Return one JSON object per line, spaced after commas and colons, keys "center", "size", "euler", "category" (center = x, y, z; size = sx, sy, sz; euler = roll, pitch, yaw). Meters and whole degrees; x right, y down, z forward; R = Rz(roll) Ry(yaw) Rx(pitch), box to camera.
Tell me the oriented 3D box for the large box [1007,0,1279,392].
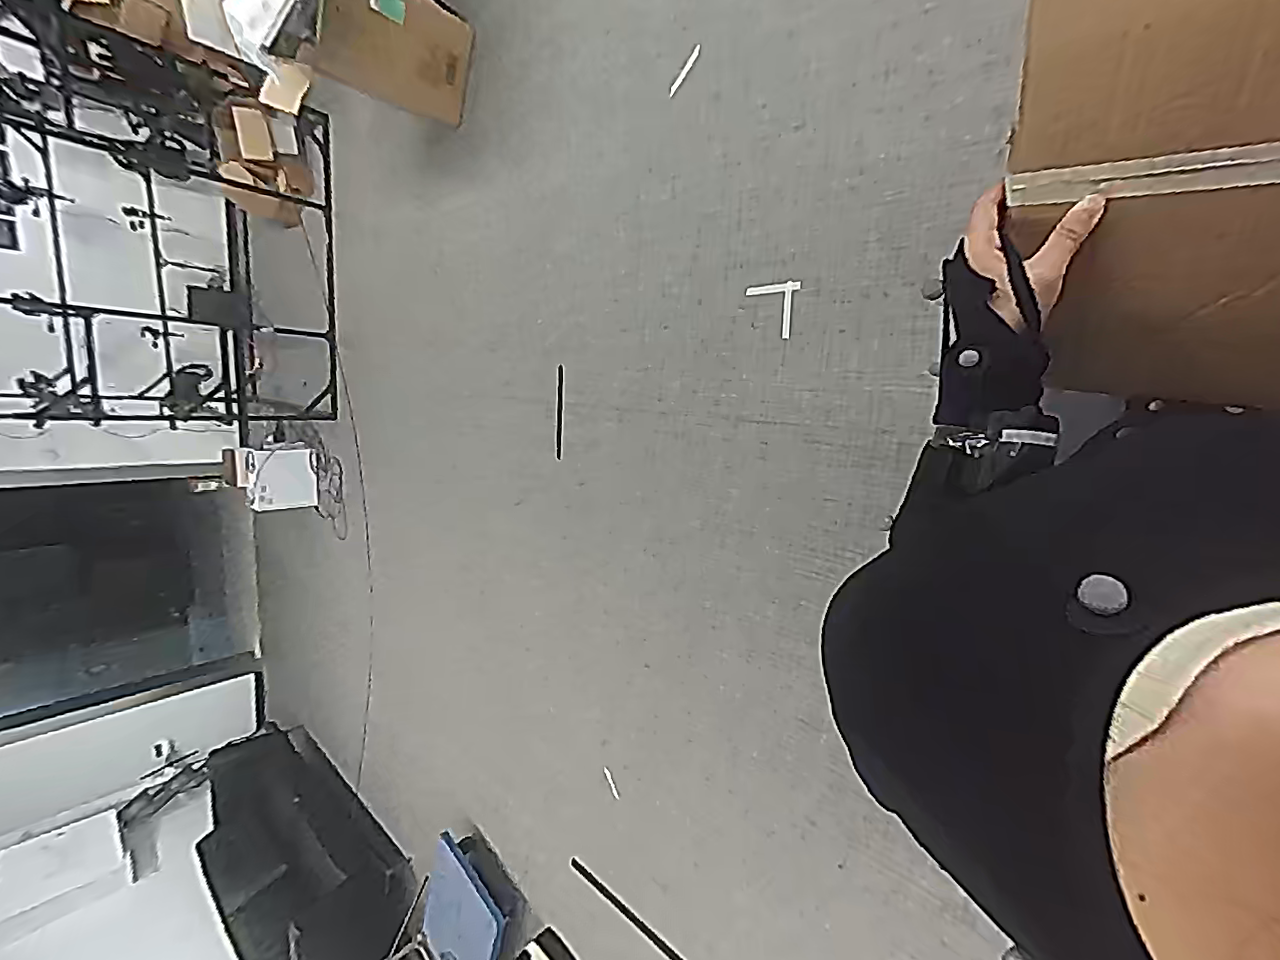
{"center": [0.500, -0.257, 0.320], "size": [0.408, 0.320, 0.320], "euler": [17, 141, 43], "category": "large box"}
